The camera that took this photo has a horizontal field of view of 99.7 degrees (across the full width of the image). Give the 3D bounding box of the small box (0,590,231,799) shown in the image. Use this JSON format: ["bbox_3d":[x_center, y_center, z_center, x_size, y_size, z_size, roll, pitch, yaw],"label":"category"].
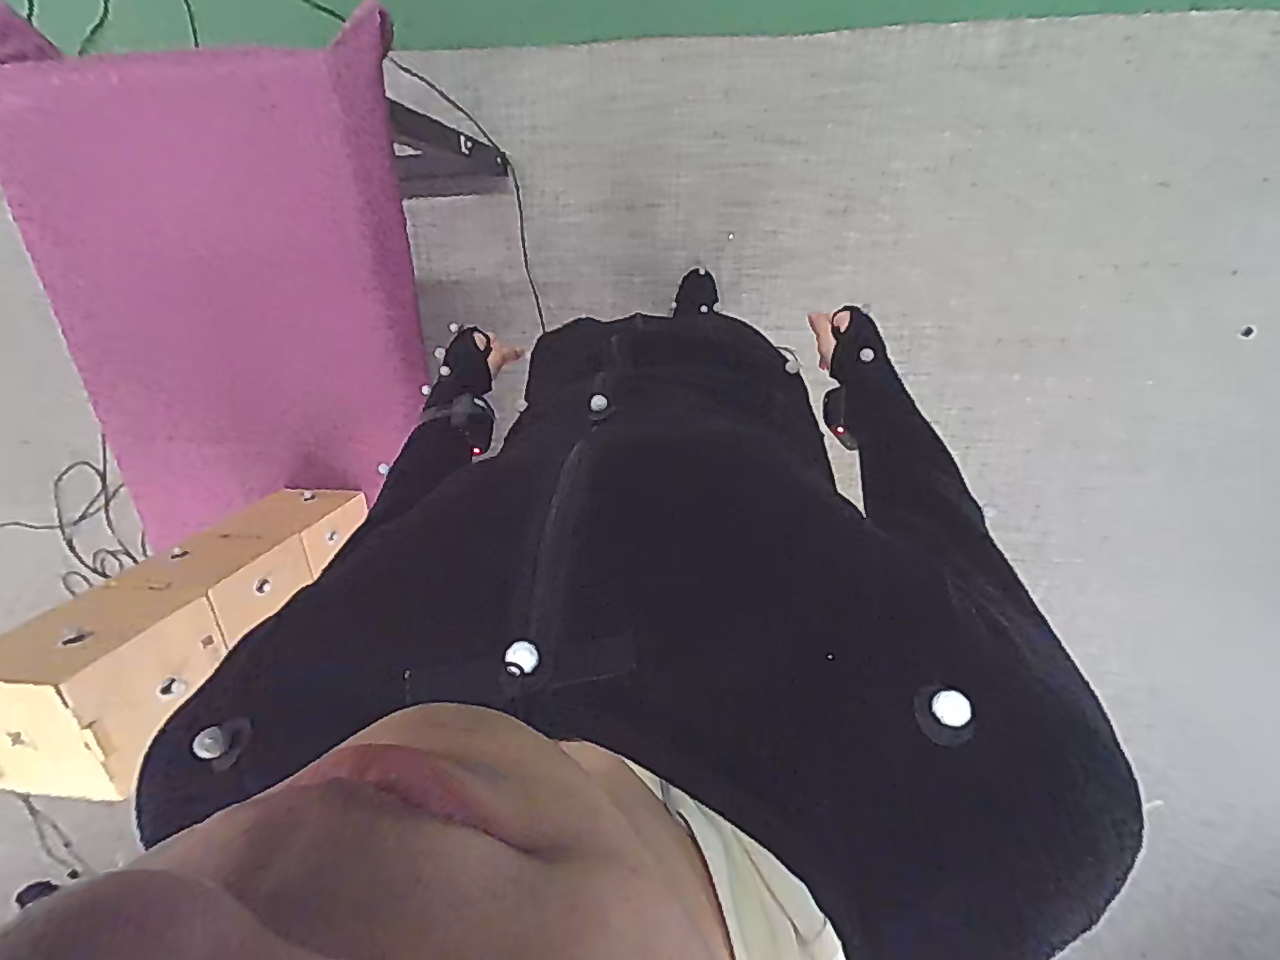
[{"bbox_3d":[-0.642,0.247,0.652,0.179,0.176,0.168,0,111,8],"label":"small box"}]

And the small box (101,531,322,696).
[{"bbox_3d":[-0.613,0.188,0.801,0.168,0.176,0.179,2,112,8],"label":"small box"}]
